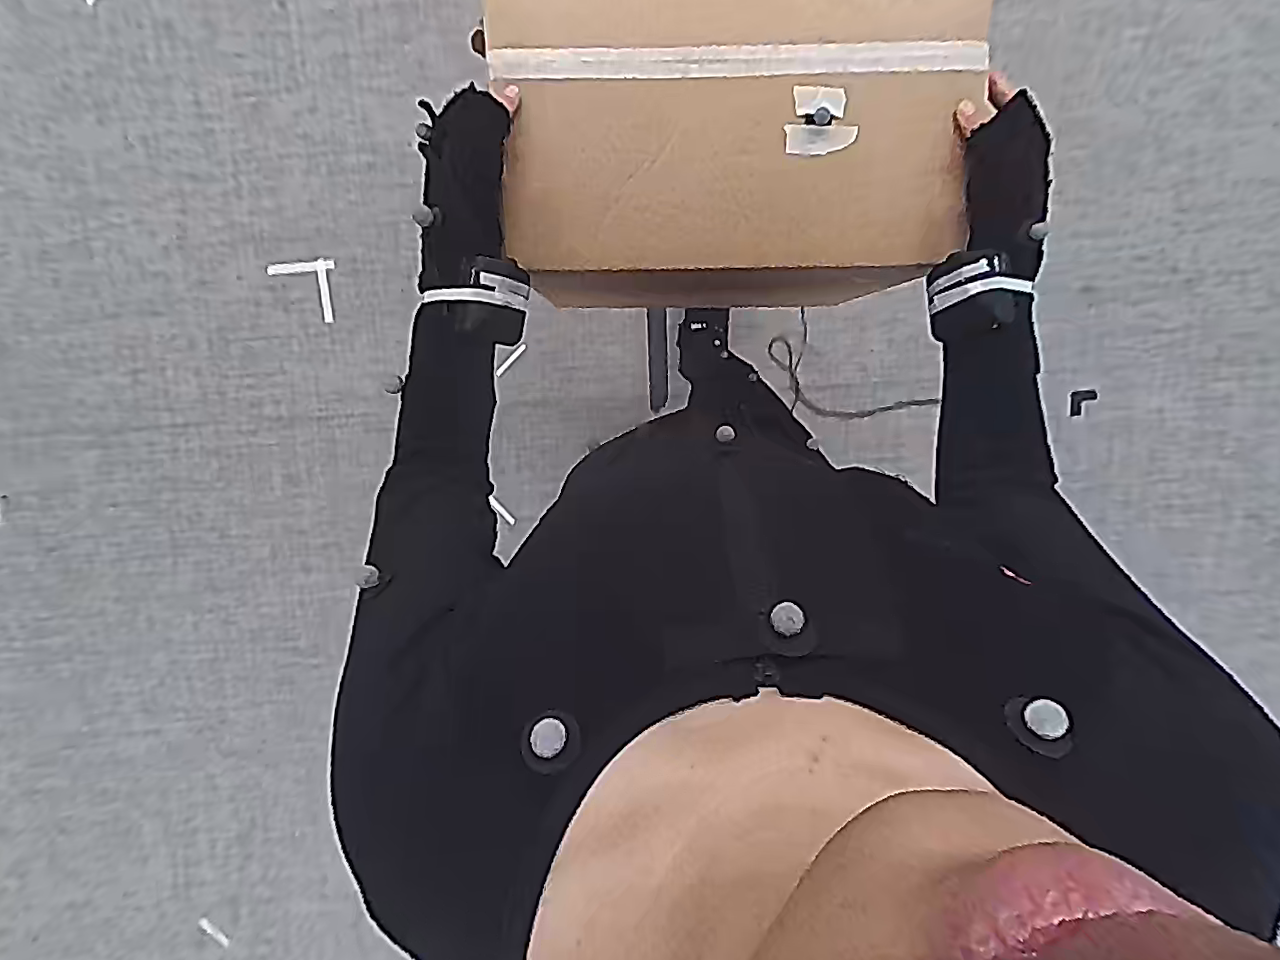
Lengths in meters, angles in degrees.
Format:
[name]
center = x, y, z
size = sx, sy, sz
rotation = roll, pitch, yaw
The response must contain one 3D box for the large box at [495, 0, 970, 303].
[large box]
center = 0.074, -0.383, 0.605
size = 0.408, 0.320, 0.320
rotation = -2, 102, -1
